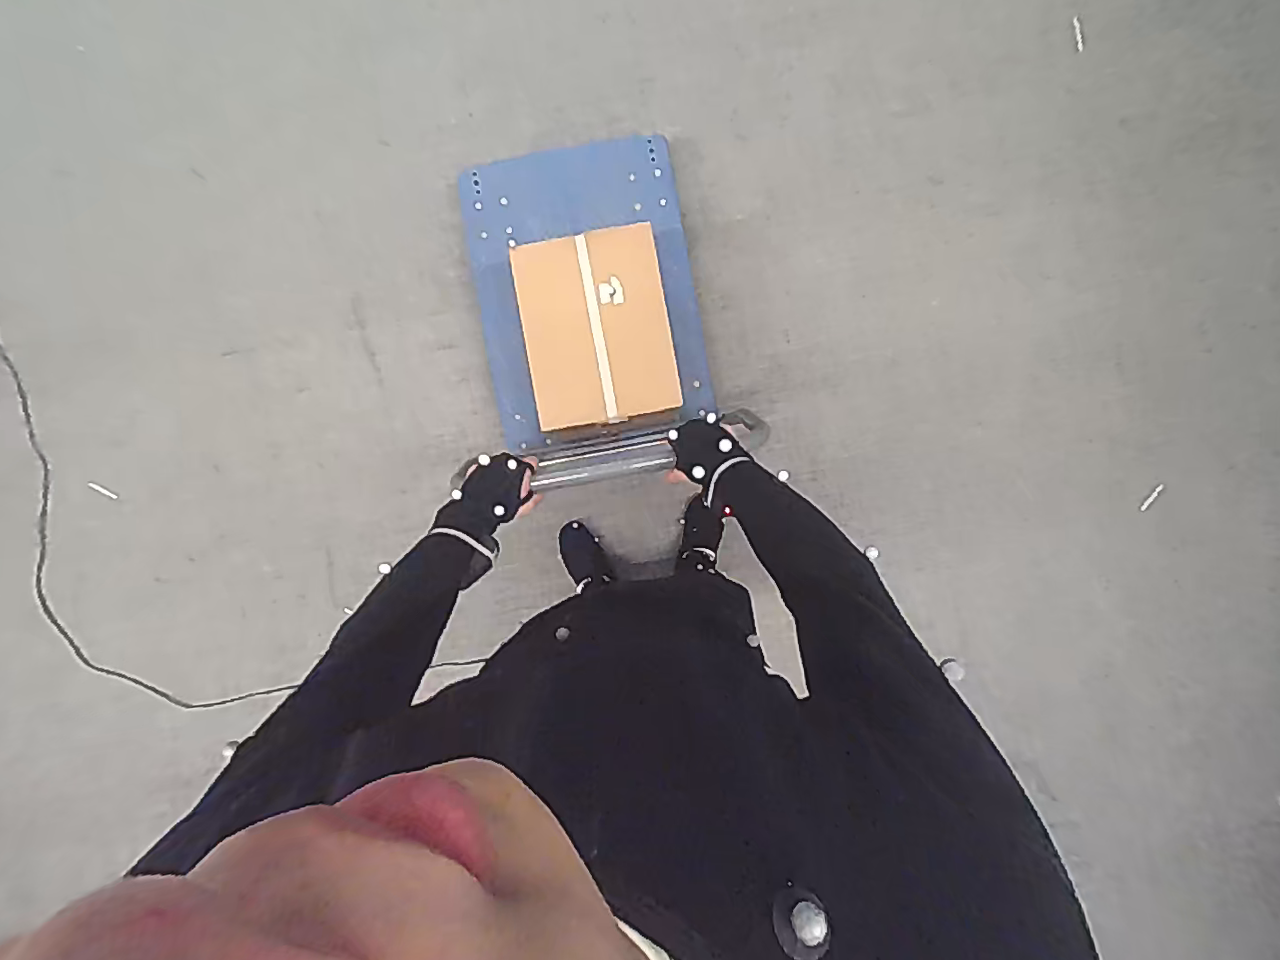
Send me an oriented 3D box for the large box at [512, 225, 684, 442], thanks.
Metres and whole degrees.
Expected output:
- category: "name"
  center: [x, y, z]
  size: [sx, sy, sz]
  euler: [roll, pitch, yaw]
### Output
- category: "large box"
  center: [-0.090, -0.325, 1.308]
  size: [0.320, 0.320, 0.408]
  euler: [-10, 89, -1]
